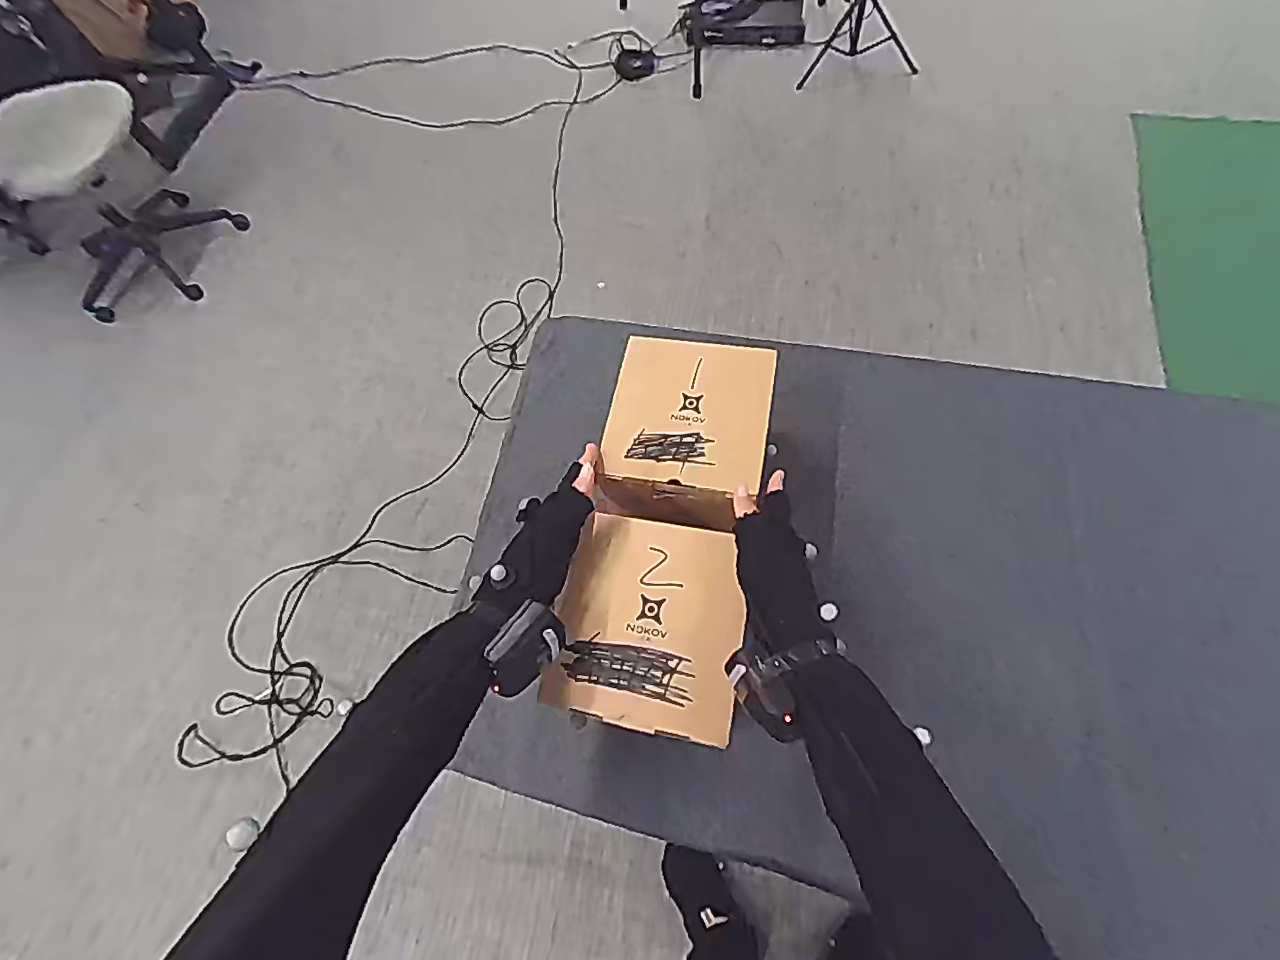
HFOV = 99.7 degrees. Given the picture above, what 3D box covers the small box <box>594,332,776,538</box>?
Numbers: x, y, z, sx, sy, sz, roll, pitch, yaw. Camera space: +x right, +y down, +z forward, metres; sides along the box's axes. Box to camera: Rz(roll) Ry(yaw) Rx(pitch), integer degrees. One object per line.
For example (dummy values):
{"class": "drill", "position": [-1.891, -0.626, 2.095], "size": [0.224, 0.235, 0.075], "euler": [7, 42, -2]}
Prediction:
{"class": "small box", "position": [0.058, -0.045, 0.633], "size": [0.168, 0.176, 0.179], "euler": [9, 68, 10]}
